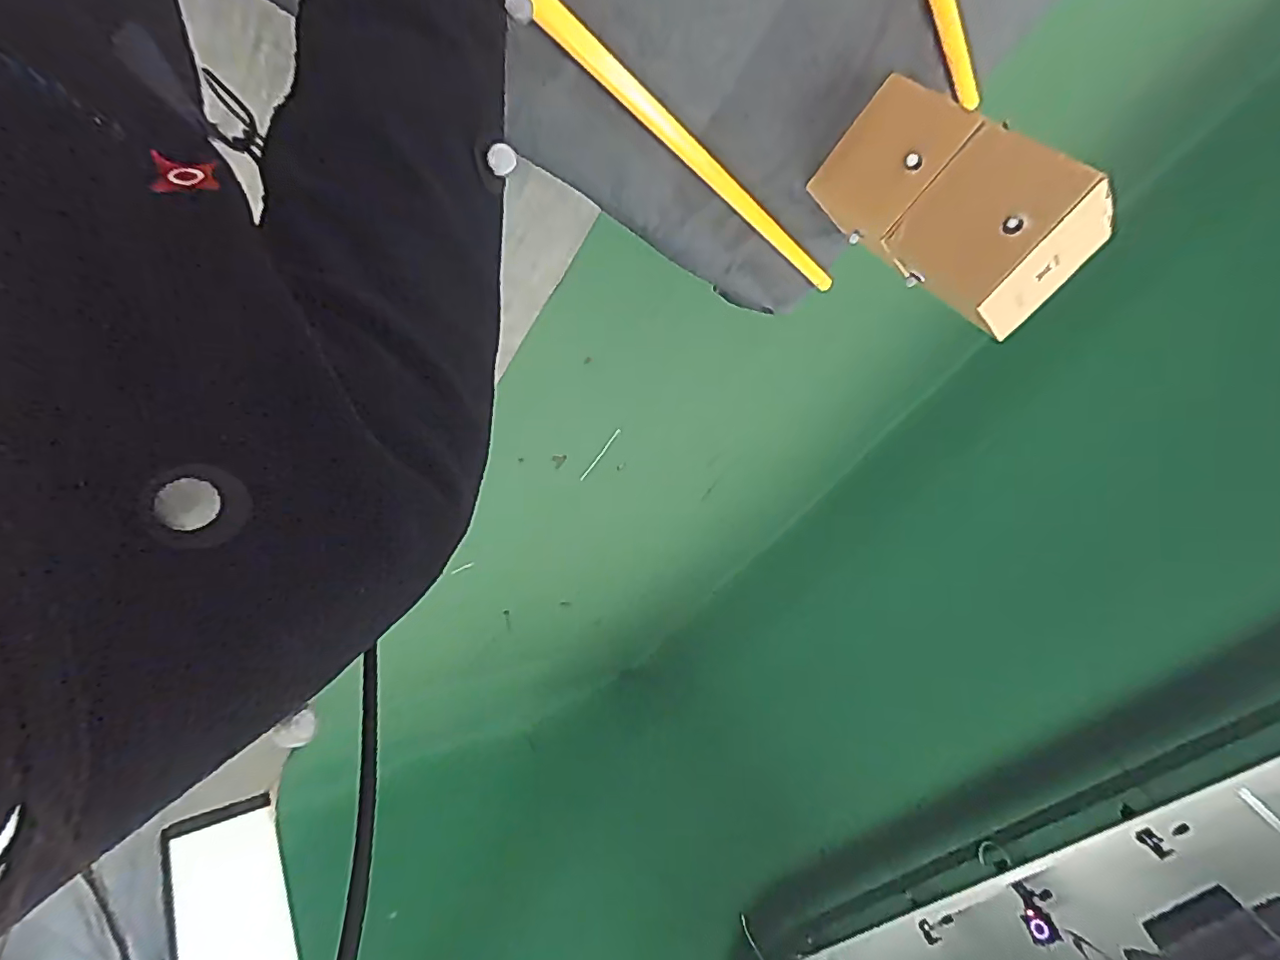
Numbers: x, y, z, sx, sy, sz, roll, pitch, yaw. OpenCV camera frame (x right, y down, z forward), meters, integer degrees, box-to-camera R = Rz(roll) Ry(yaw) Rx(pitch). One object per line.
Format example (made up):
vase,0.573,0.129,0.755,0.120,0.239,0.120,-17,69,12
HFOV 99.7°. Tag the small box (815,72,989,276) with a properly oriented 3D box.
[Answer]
small box,0.388,-0.447,0.803,0.168,0.176,0.179,7,130,-50

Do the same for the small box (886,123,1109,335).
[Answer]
small box,0.474,-0.332,0.727,0.168,0.176,0.179,5,132,-48
